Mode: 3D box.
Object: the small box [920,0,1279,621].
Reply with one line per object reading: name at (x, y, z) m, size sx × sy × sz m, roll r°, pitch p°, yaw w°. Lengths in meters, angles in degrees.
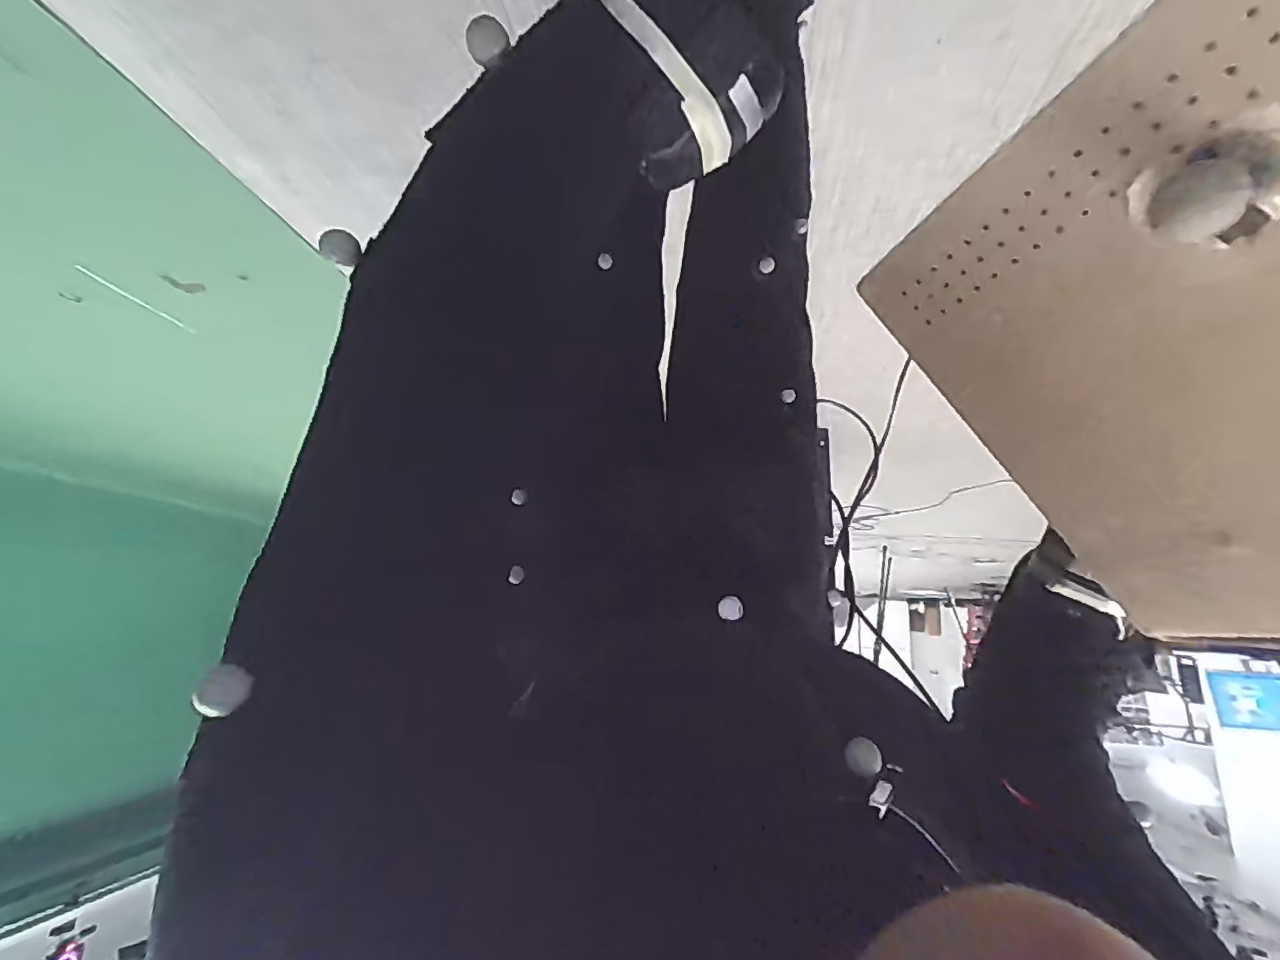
small box at (0.213, -0.082, 0.144) m, size 0.168 × 0.176 × 0.179 m, roll -38°, pitch 179°, yaw -22°
